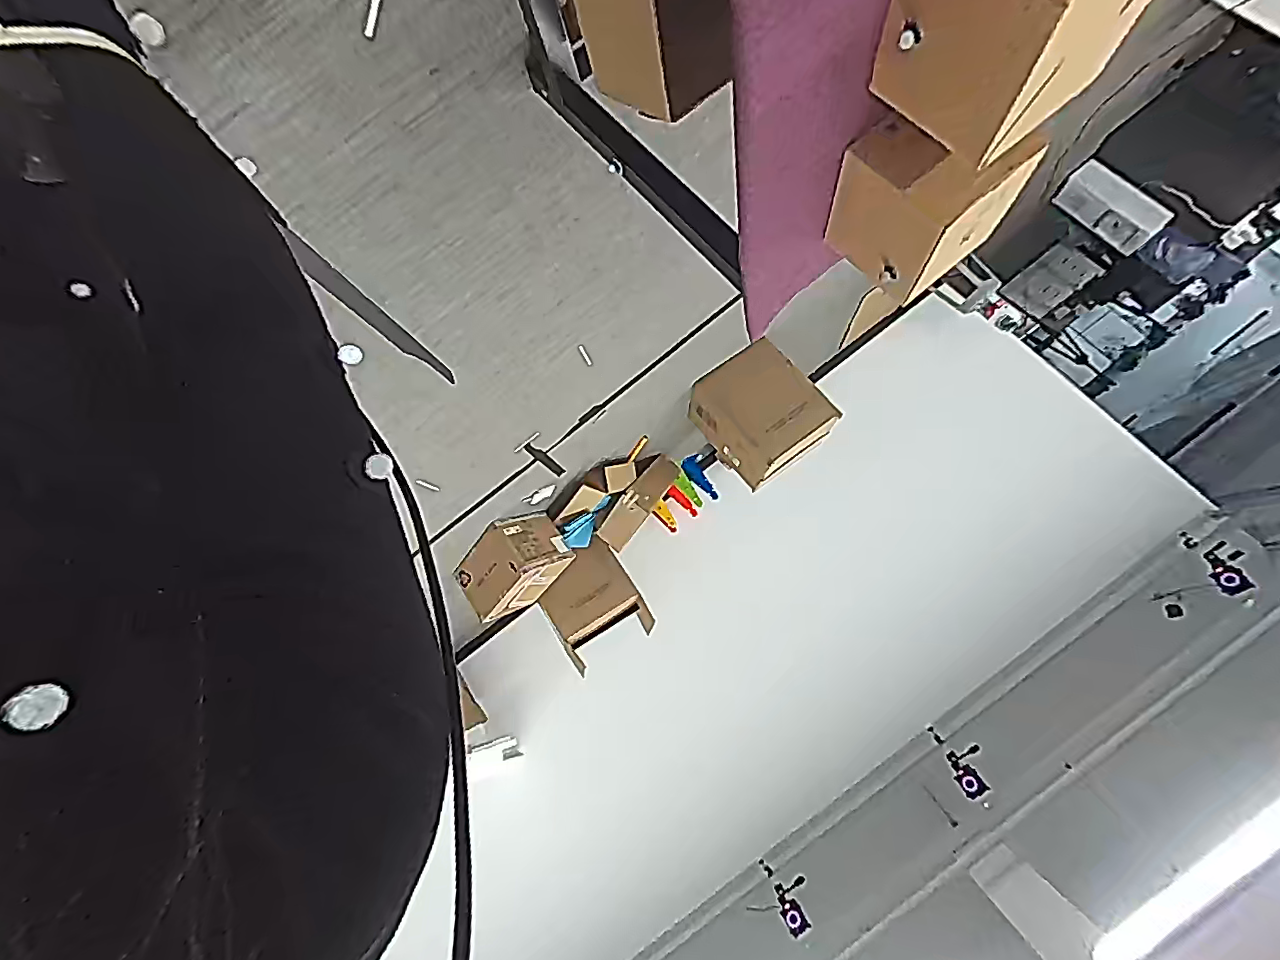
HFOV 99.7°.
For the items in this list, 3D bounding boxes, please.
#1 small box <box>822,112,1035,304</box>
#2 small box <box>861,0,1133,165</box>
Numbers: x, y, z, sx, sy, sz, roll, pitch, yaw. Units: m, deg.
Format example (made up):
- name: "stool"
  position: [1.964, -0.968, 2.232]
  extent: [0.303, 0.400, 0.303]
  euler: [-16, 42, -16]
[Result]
- name: "small box"
  position: [0.380, -0.393, 0.755]
  extent: [0.168, 0.176, 0.179]
  euler: [-40, 163, -3]
- name: "small box"
  position: [0.353, -0.460, 0.520]
  extent: [0.168, 0.176, 0.179]
  euler: [-39, 163, -3]
